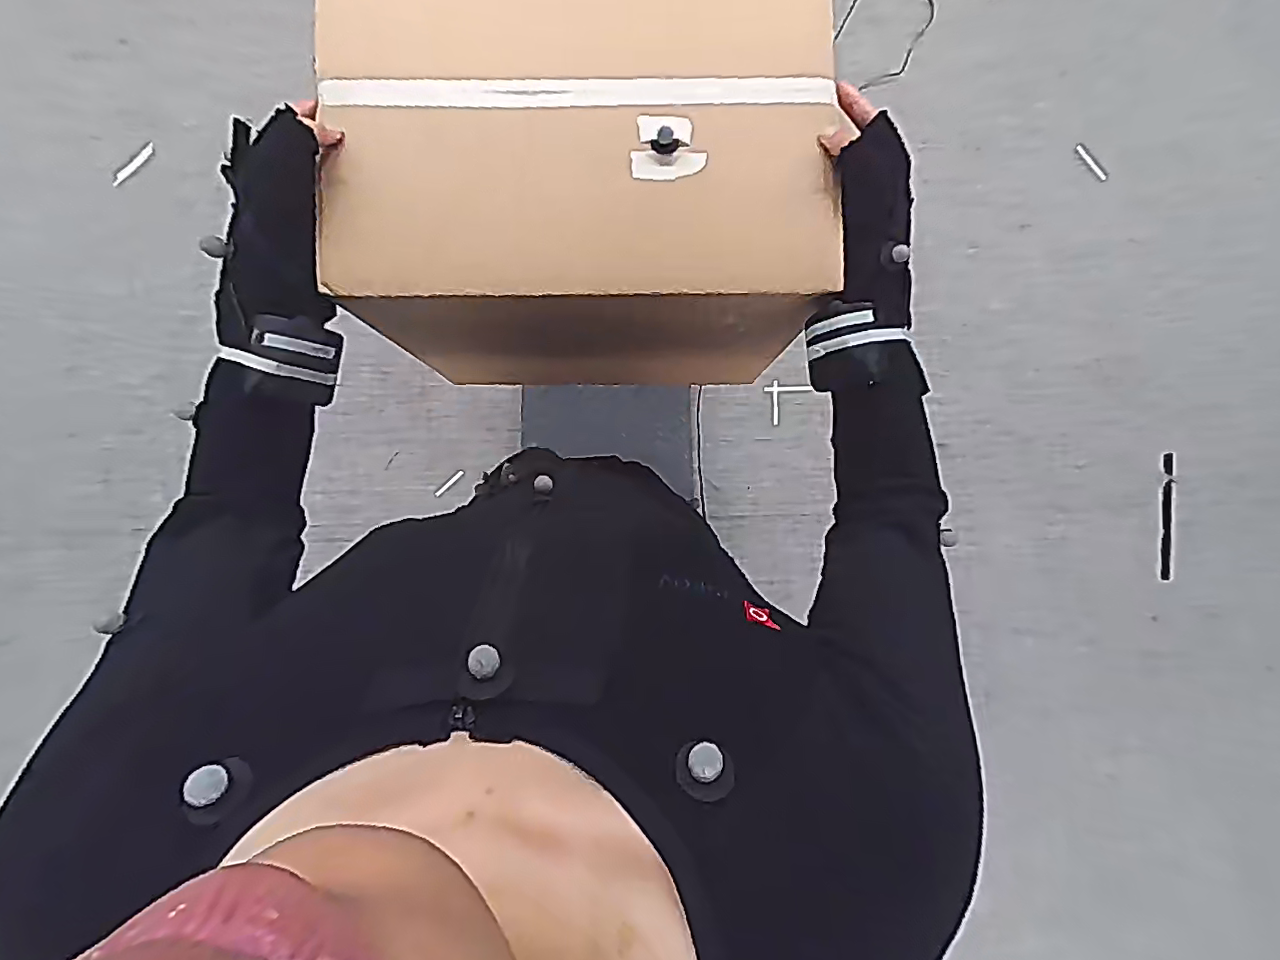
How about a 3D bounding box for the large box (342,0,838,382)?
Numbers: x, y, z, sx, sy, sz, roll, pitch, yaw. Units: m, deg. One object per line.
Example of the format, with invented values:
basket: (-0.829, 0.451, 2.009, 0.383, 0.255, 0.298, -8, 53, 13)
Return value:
large box: (-0.046, -0.298, 0.589, 0.408, 0.320, 0.320, -1, 87, -1)
